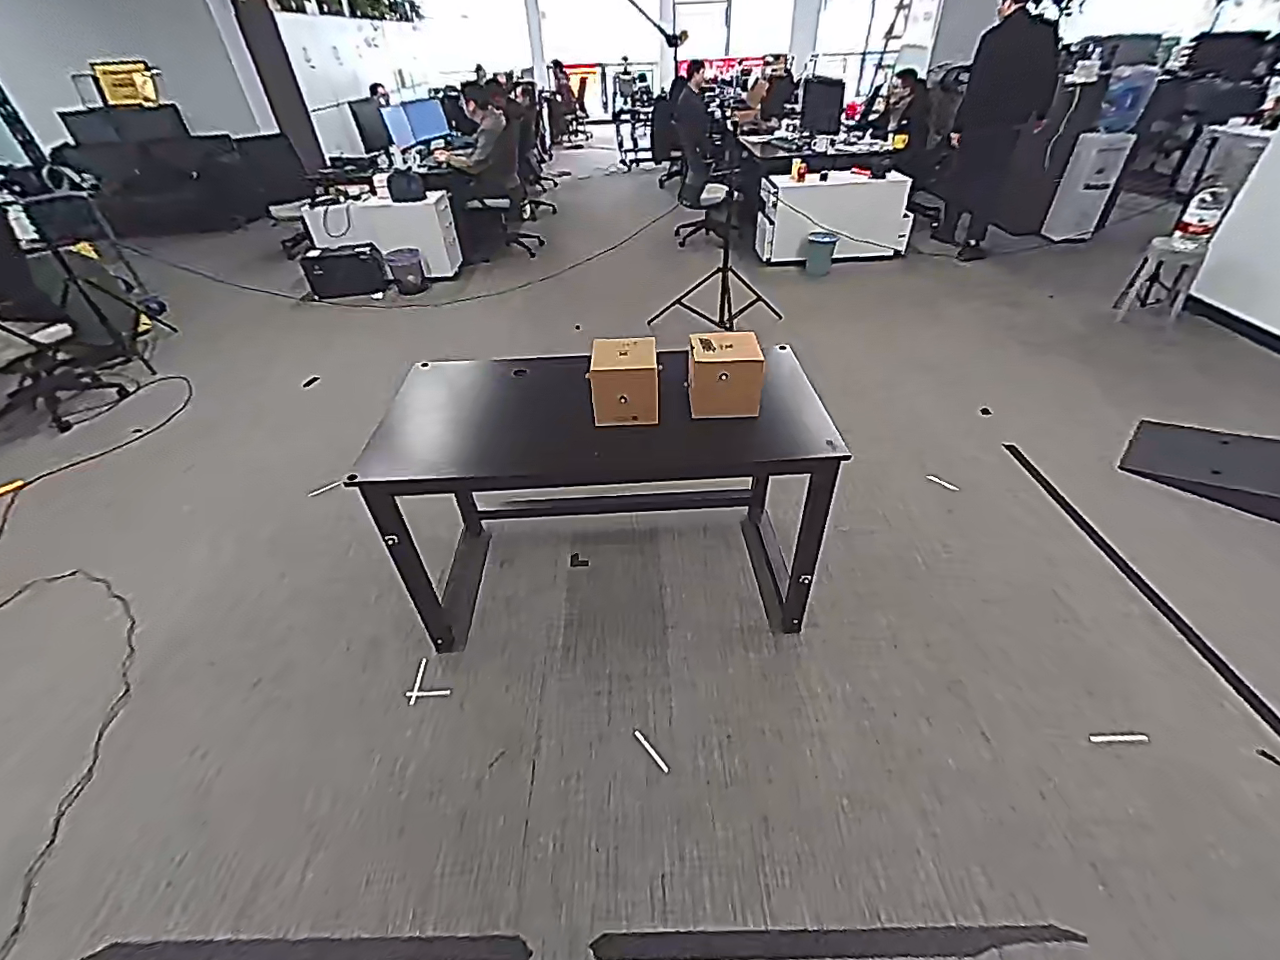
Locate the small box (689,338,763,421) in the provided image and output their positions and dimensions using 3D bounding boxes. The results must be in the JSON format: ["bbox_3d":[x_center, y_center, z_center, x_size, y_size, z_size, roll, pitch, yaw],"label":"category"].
[{"bbox_3d":[0.224,-0.268,1.454,0.179,0.176,0.168,-1,39,1],"label":"small box"}]

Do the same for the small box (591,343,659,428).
[{"bbox_3d":[-0.036,-0.250,1.448,0.168,0.176,0.179,-2,39,1],"label":"small box"}]
